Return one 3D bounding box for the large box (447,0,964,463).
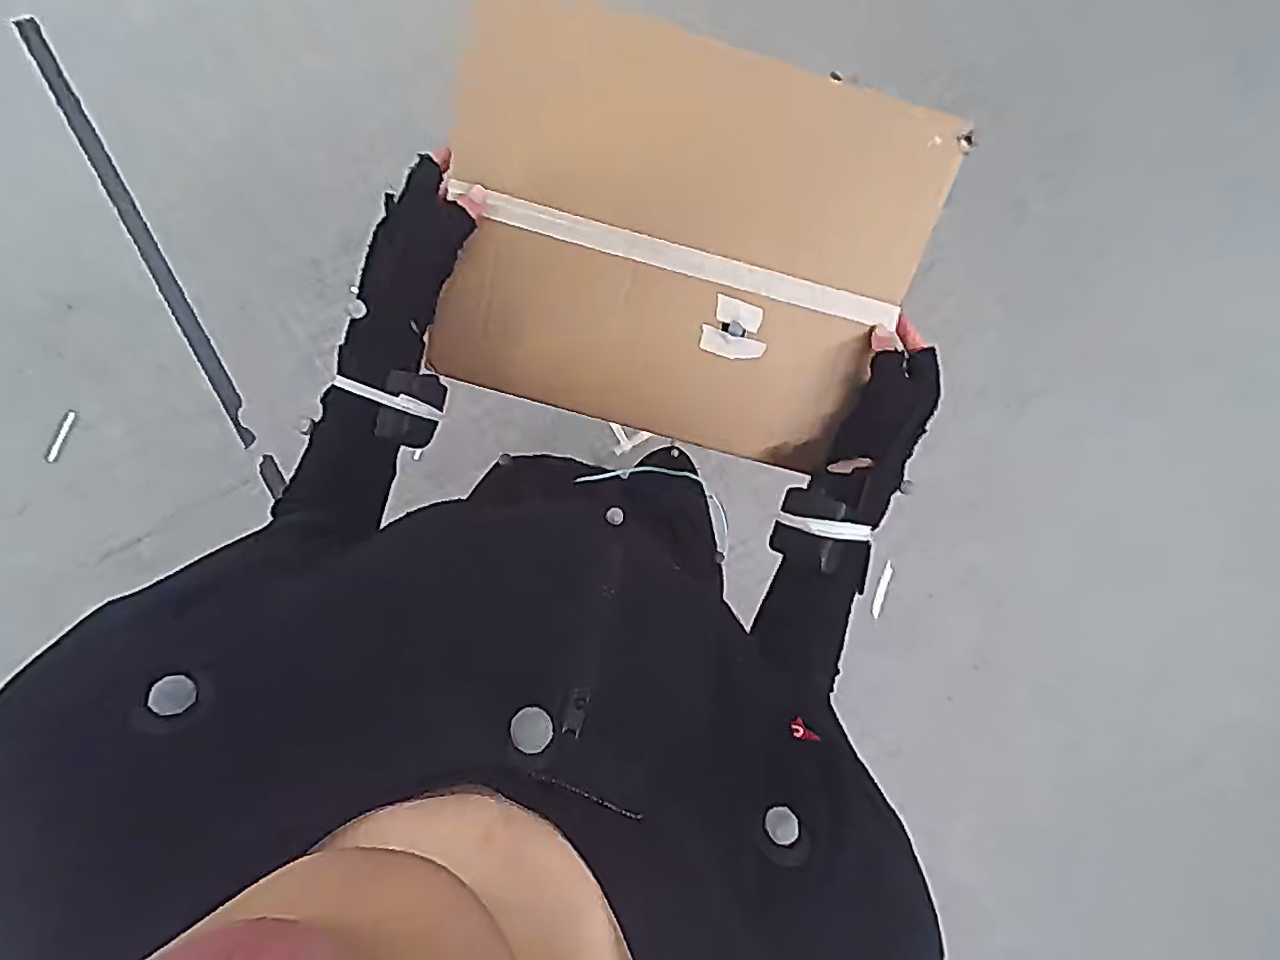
[{"bbox_3d":[0.044,-0.249,0.625,0.408,0.320,0.320,15,109,-4],"label":"large box"}]
